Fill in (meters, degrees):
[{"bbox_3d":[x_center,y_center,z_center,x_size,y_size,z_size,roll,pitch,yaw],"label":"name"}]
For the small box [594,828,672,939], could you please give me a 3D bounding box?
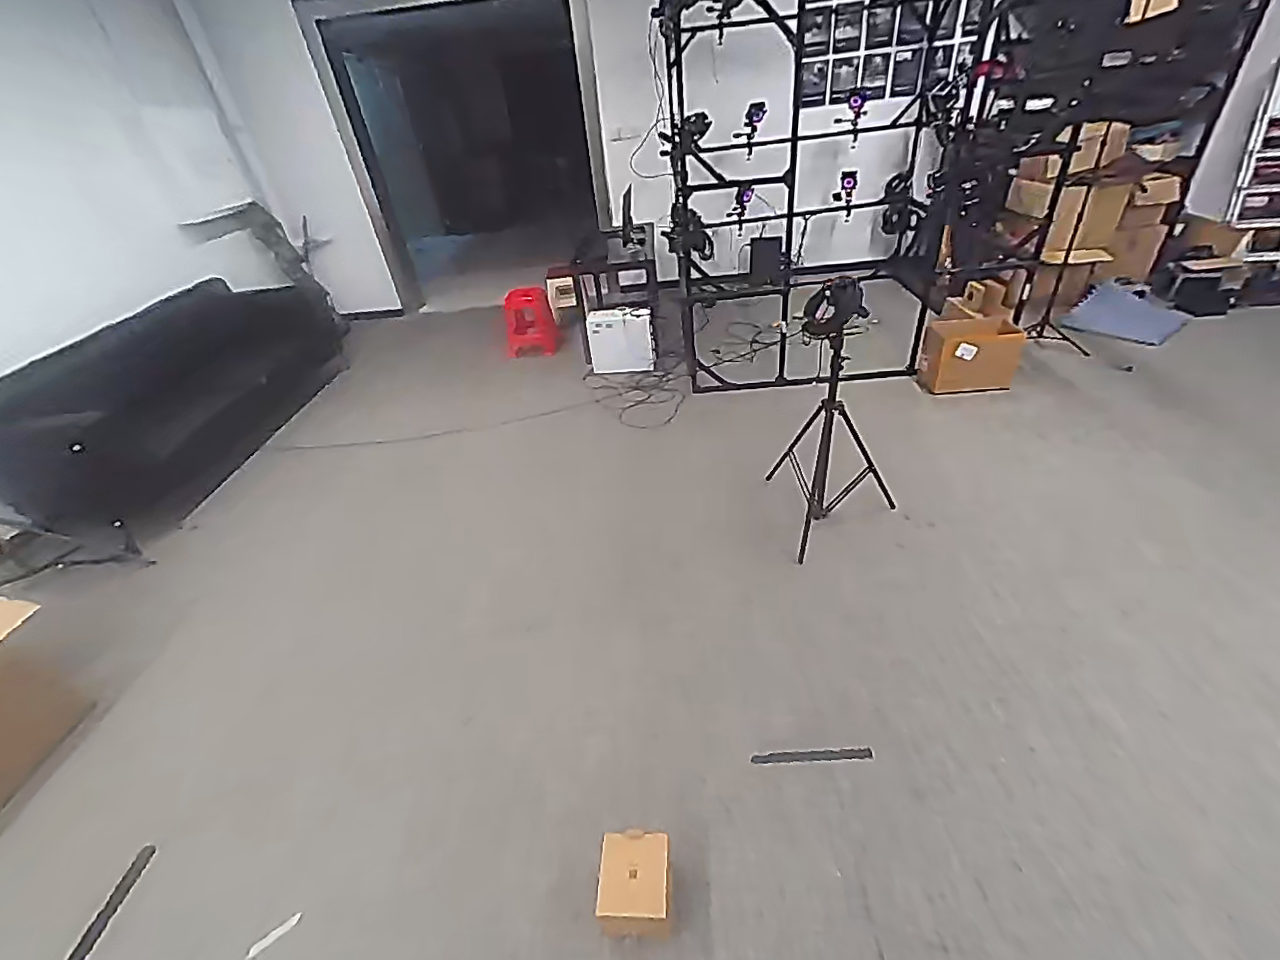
[{"bbox_3d":[-0.011,1.000,1.344,0.168,0.176,0.179,-4,35,7],"label":"small box"}]
